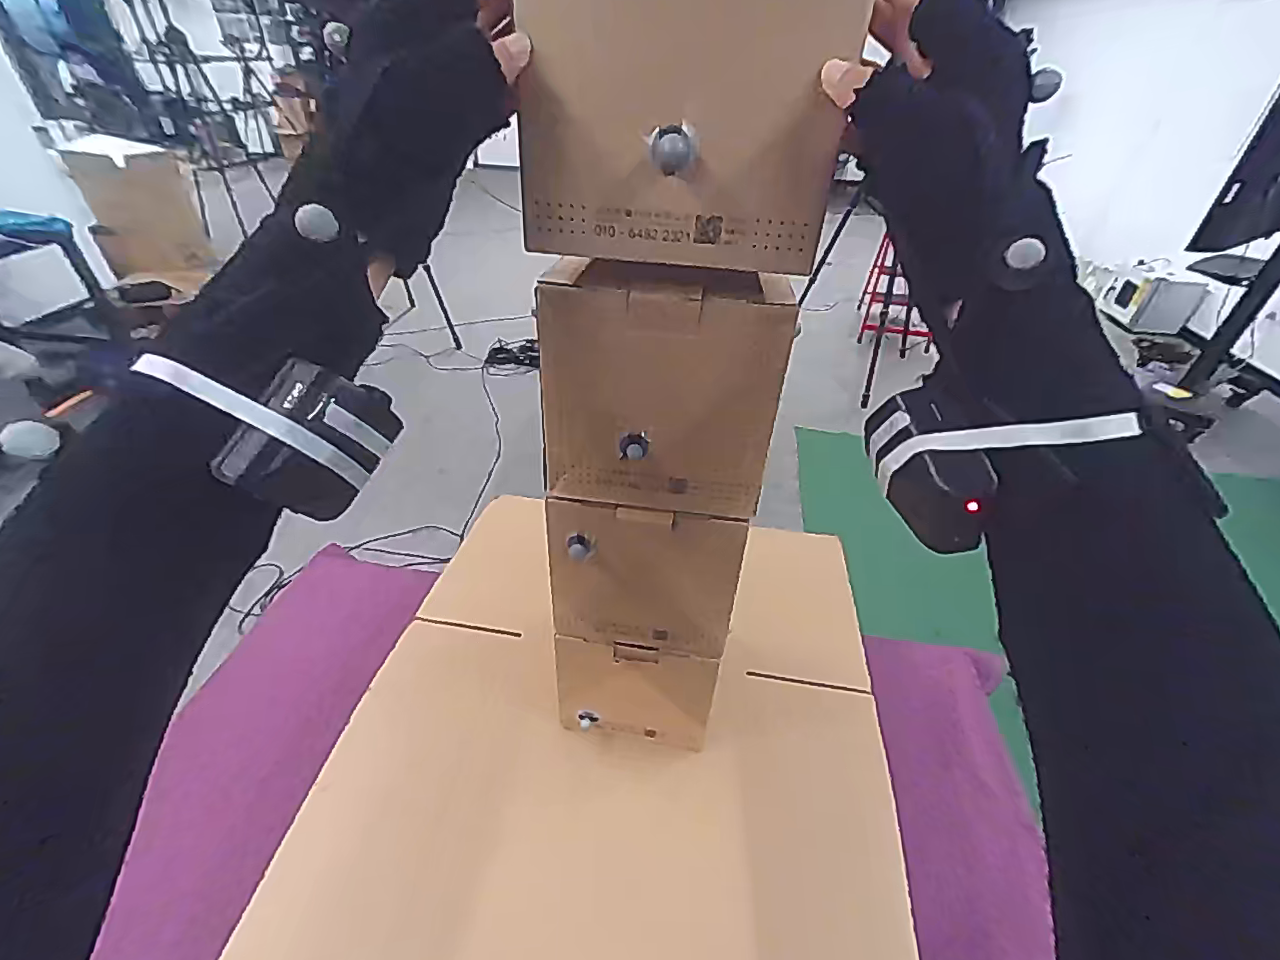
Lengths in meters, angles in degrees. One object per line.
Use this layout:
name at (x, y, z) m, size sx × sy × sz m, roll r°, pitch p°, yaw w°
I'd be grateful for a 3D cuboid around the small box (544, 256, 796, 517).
small box at (0.022, -0.093, 0.455) m, size 0.168 × 0.176 × 0.179 m, roll 7°, pitch 35°, yaw 4°

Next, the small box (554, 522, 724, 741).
small box at (0.005, 0.177, 0.640) m, size 0.168 × 0.176 × 0.179 m, roll 8°, pitch 35°, yaw 6°

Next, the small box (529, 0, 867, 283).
small box at (0.029, -0.237, 0.343) m, size 0.168 × 0.176 × 0.179 m, roll 6°, pitch 34°, yaw 3°
